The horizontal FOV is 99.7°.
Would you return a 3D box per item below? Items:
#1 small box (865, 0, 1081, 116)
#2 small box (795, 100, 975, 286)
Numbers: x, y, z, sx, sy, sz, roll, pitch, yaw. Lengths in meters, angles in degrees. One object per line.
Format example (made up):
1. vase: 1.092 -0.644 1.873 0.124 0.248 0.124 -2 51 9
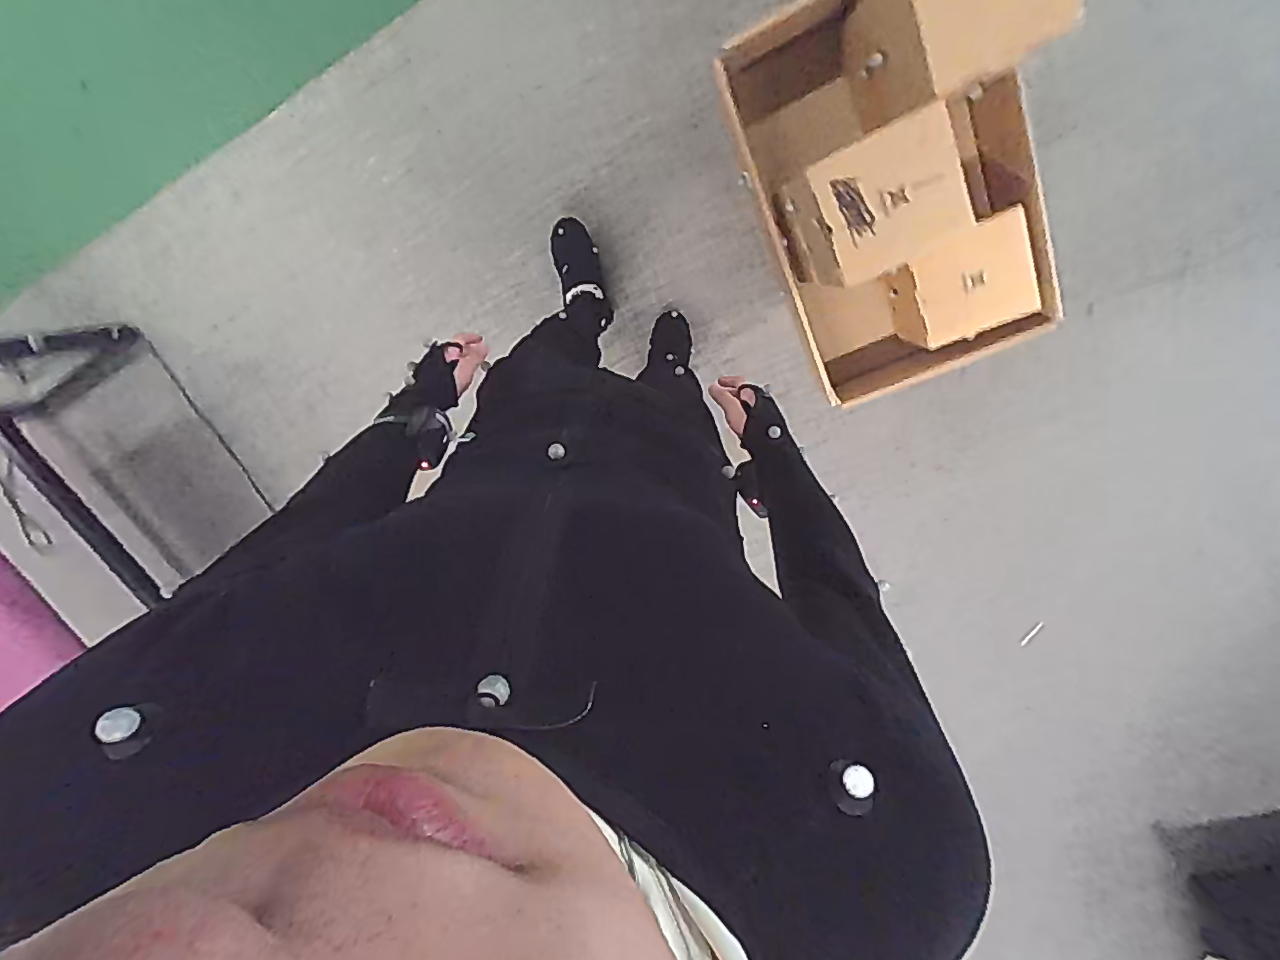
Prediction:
1. small box: 0.409 -0.596 0.686 0.168 0.176 0.179 -20 109 14
2. small box: 0.334 -0.392 0.774 0.179 0.176 0.168 -22 108 13
